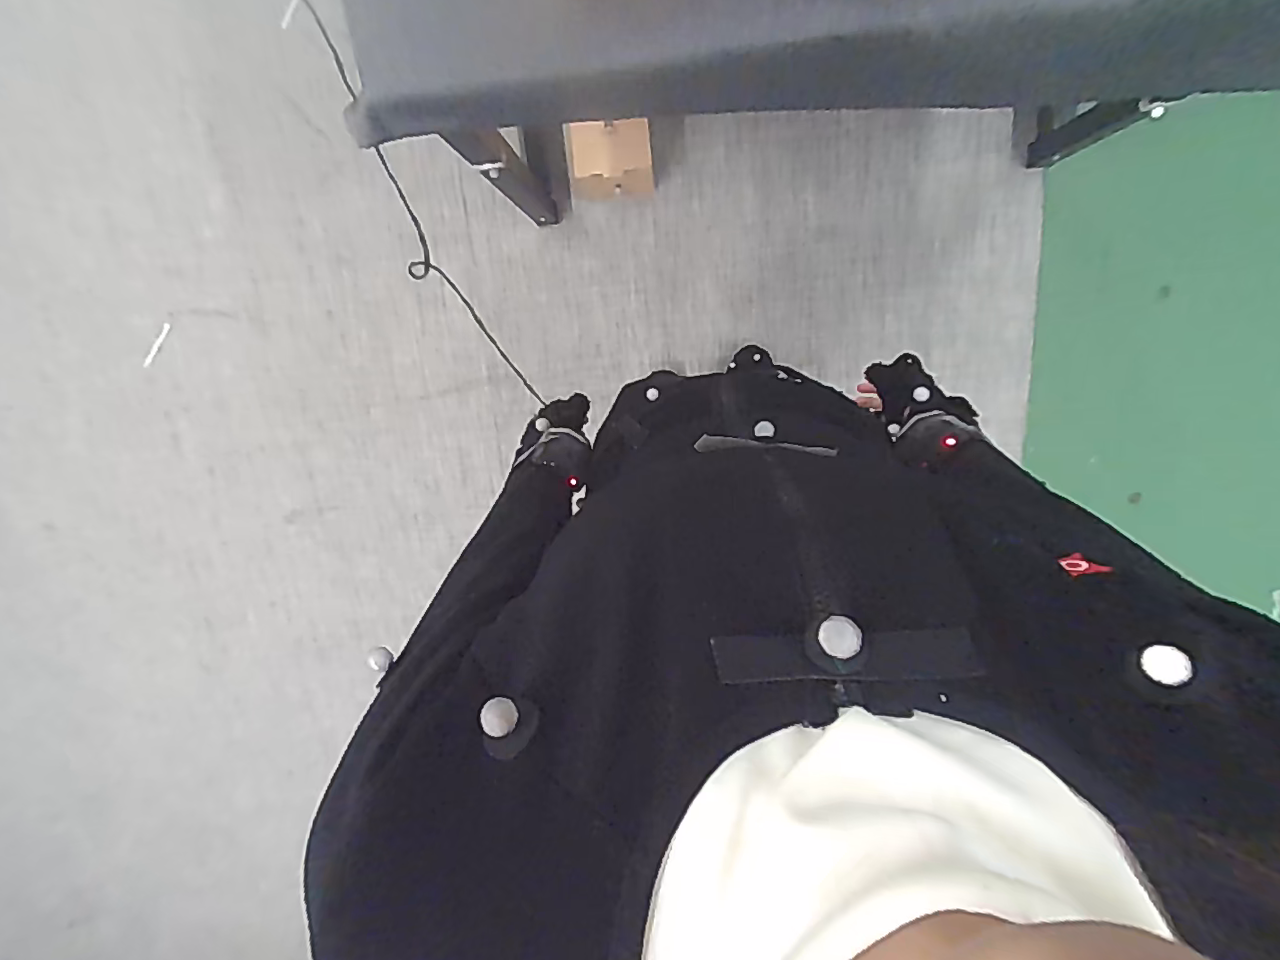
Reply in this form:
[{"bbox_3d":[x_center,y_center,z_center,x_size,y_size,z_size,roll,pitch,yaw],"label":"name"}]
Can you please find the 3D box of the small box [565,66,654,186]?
[{"bbox_3d":[-0.059,-0.762,1.185,0.168,0.176,0.179,-4,104,4],"label":"small box"}]
